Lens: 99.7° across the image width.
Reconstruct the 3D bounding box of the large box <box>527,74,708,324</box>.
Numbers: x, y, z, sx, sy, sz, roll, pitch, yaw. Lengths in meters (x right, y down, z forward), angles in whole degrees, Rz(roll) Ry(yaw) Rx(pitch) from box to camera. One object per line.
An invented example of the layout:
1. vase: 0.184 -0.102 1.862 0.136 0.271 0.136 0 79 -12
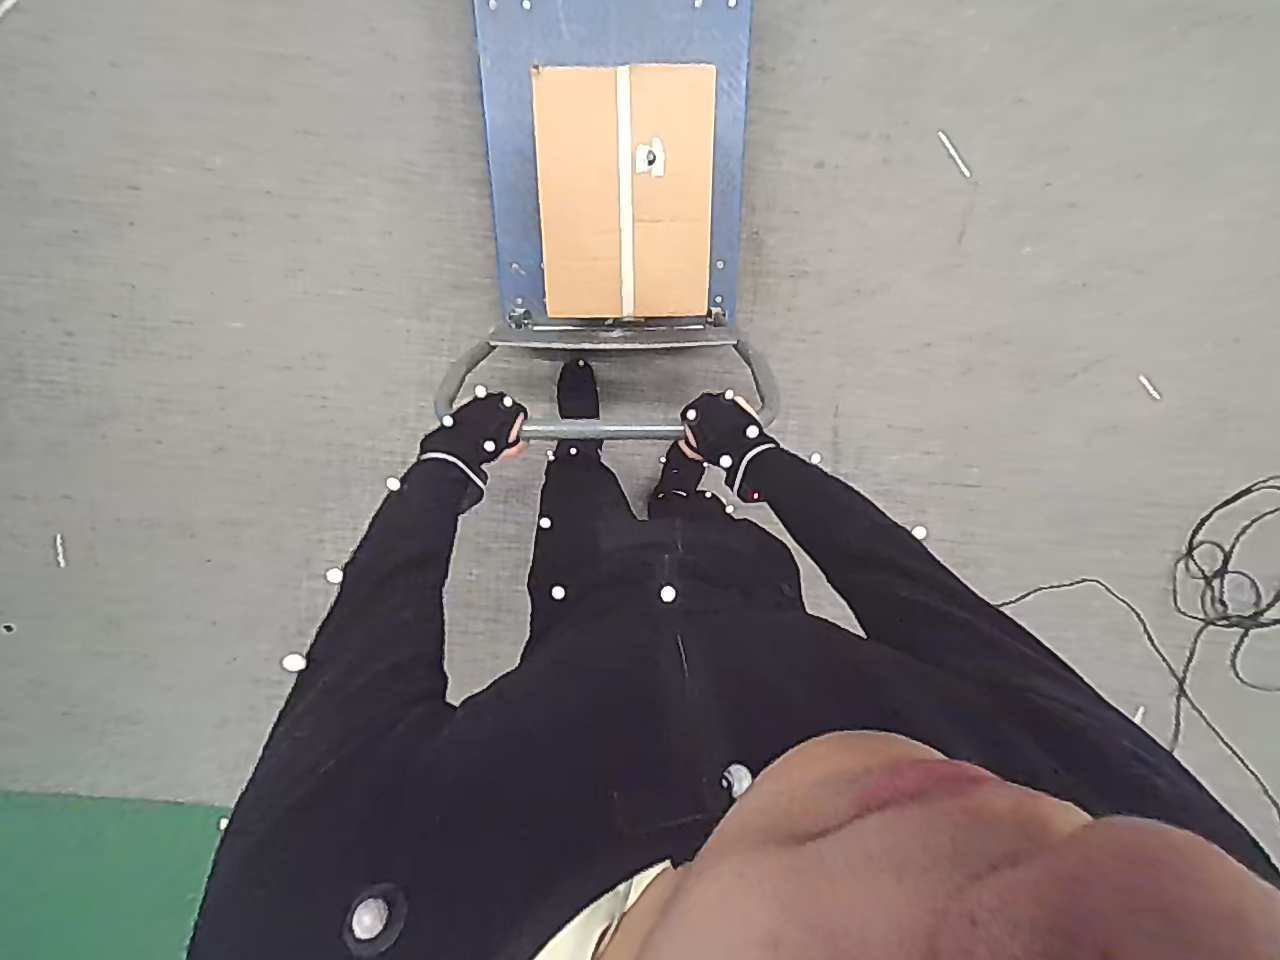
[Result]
1. large box: -0.031 -0.545 1.122 0.320 0.320 0.408 -1 110 0
